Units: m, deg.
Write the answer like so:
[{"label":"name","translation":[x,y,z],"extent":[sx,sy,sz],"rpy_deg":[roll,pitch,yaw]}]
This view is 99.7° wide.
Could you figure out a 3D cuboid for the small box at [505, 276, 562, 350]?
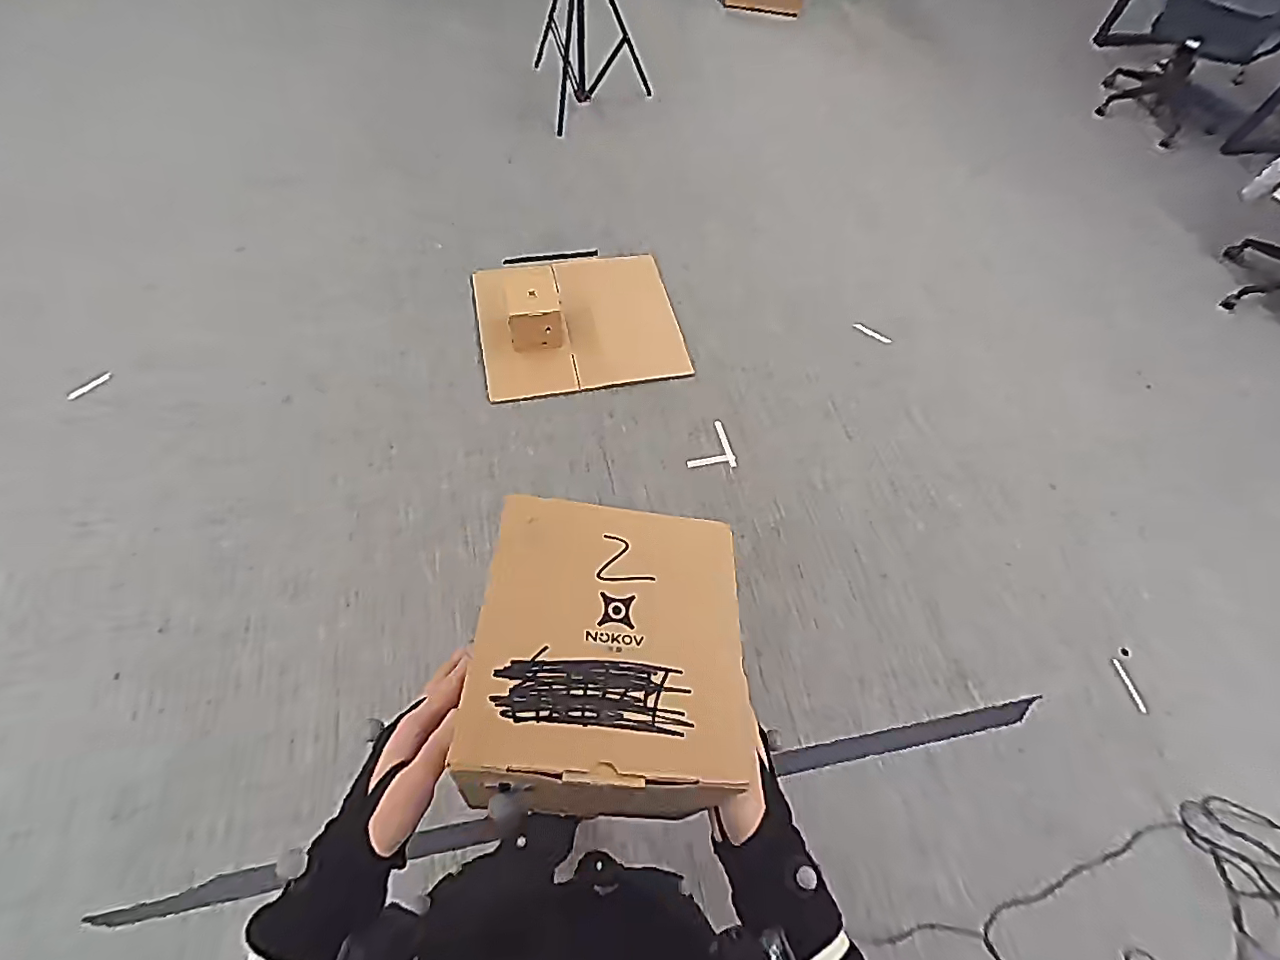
[{"label":"small box","translation":[-0.358,-0.557,1.827],"extent":[0.168,0.176,0.179],"rpy_deg":[-8,62,-11]}]
